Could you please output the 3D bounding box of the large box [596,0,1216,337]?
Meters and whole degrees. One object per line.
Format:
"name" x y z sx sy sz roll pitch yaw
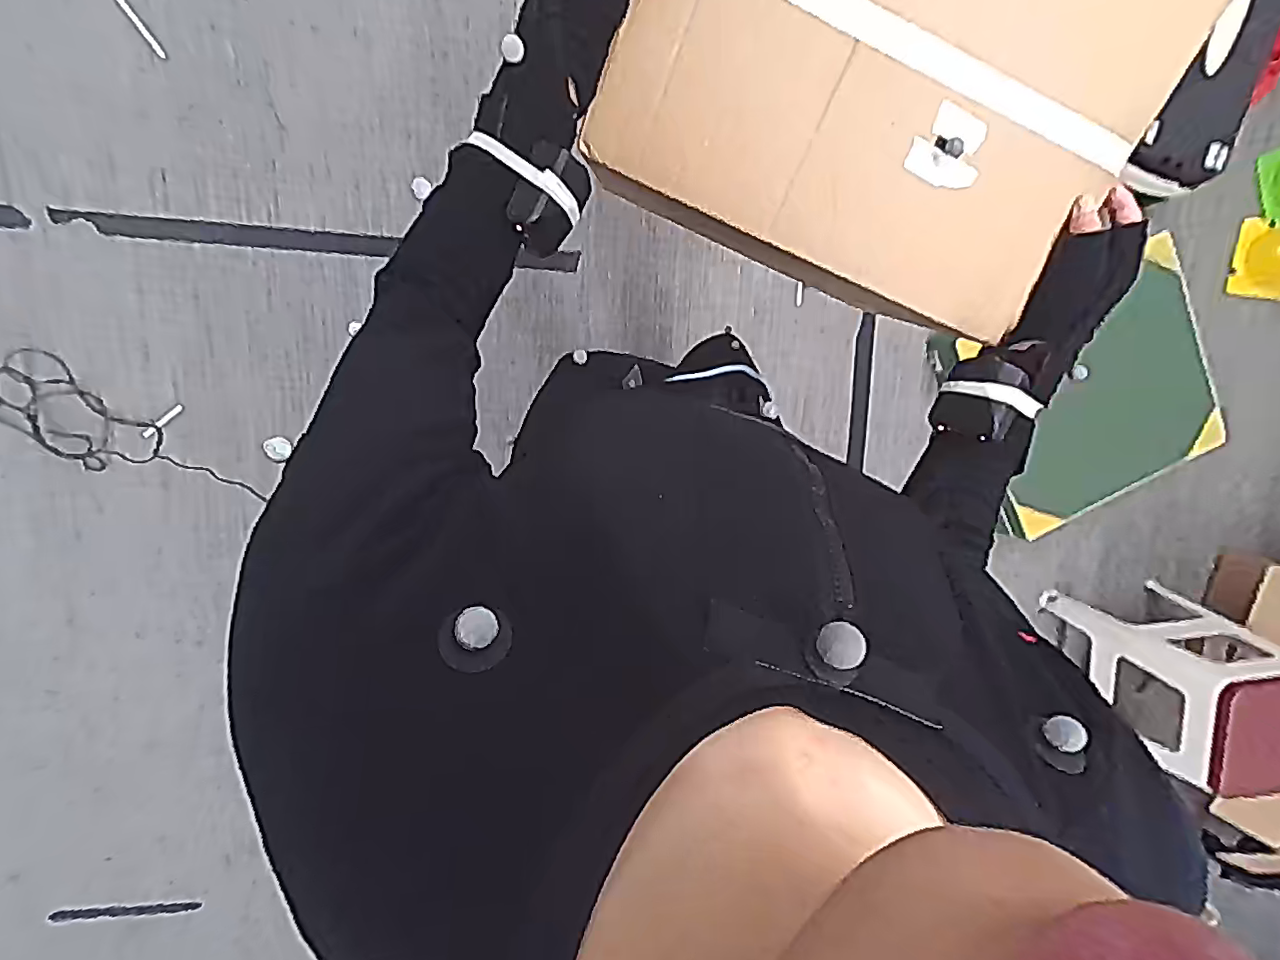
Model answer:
"large box" 0.197 -0.385 0.548 0.408 0.320 0.320 21 113 -10
